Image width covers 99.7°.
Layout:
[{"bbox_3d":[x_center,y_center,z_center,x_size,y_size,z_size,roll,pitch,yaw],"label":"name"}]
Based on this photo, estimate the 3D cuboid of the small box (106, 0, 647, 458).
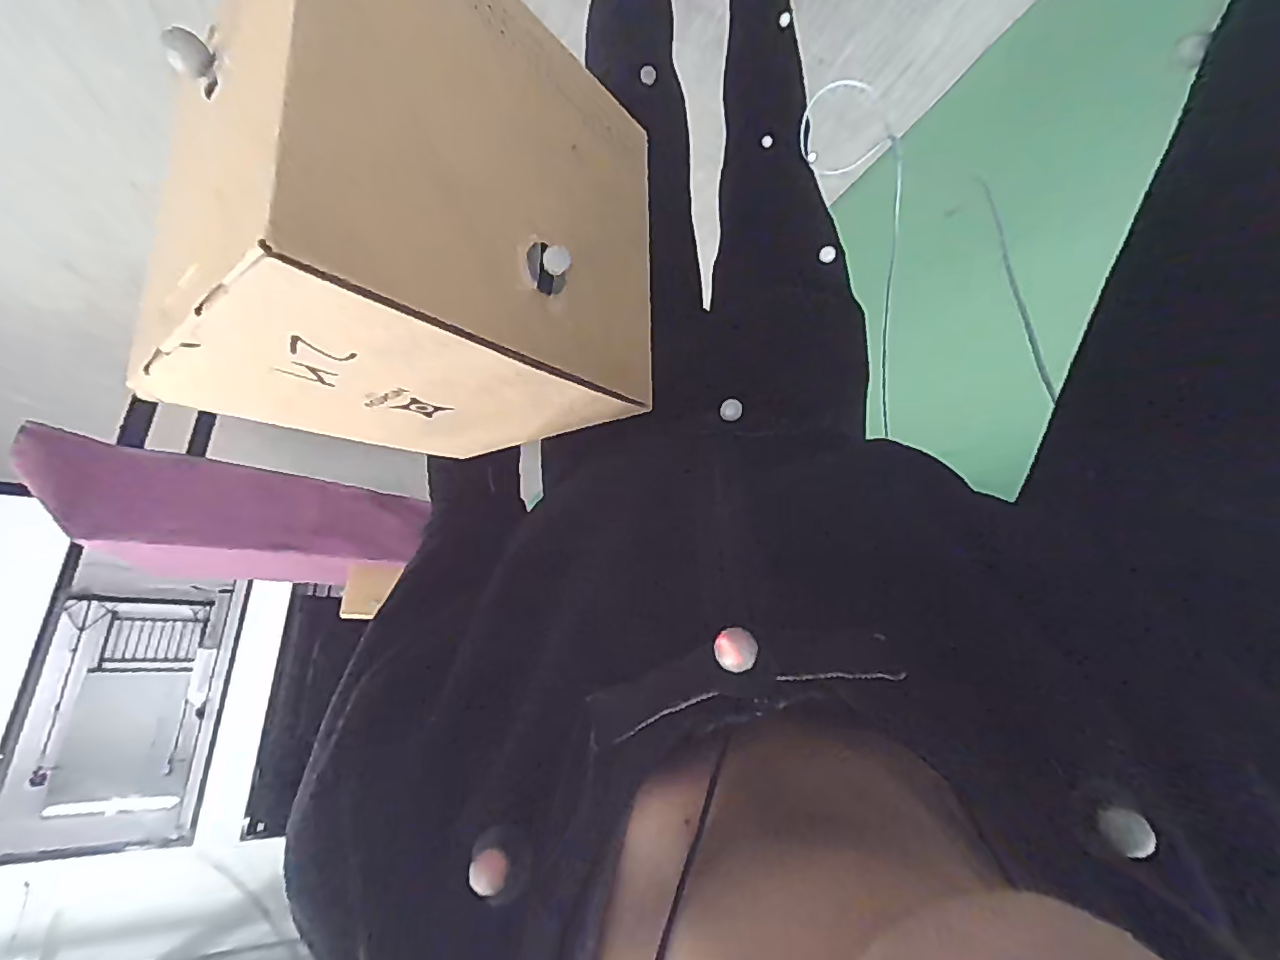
[{"bbox_3d":[-0.111,-0.118,0.265,0.168,0.176,0.179,-11,164,36],"label":"small box"}]
